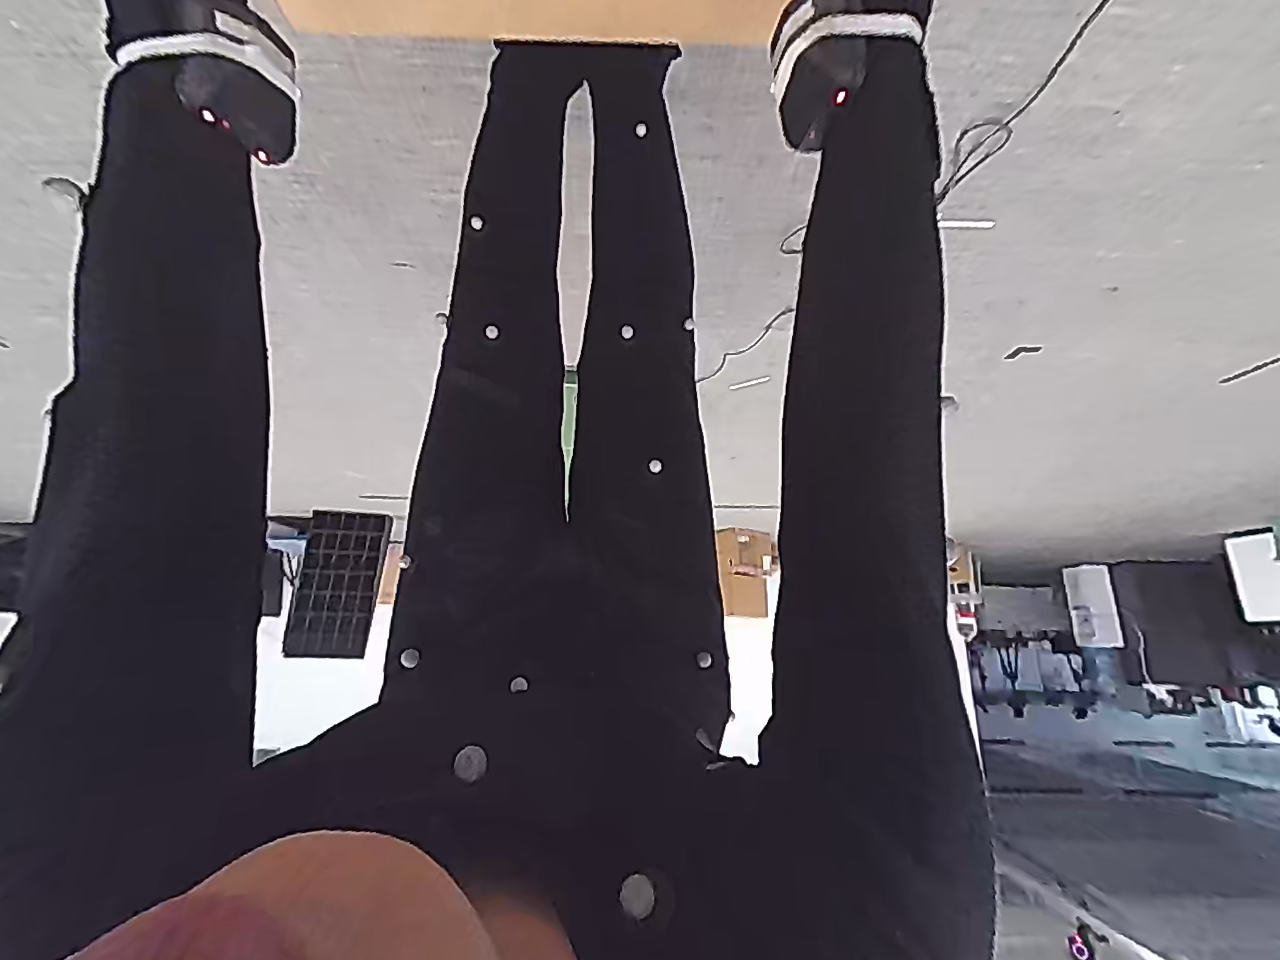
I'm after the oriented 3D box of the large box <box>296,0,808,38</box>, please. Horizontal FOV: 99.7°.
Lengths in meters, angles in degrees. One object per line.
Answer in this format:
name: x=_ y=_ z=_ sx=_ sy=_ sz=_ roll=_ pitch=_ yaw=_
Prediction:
large box: x=-0.070 y=-0.547 z=0.334 sx=0.408 sy=0.320 sz=0.320 roll=1 pitch=166 yaw=0
